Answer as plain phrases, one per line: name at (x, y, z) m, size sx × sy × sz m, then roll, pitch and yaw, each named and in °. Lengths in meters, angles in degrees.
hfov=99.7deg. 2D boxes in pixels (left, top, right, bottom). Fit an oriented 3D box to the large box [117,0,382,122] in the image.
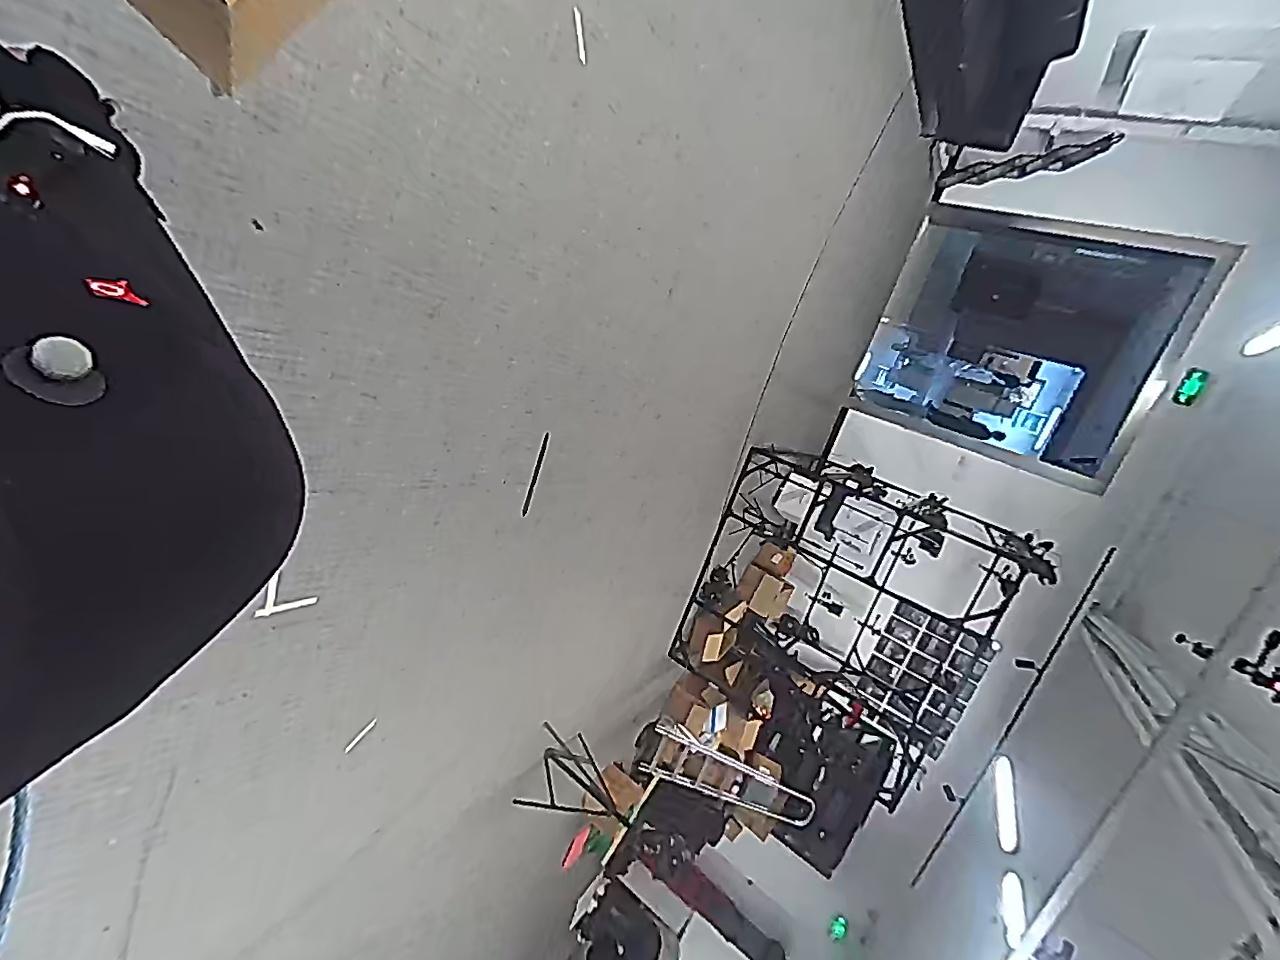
large box at (-0.372, -0.580, 0.455) m, size 0.320 × 0.408 × 0.320 m, roll -48°, pitch 130°, yaw -7°
